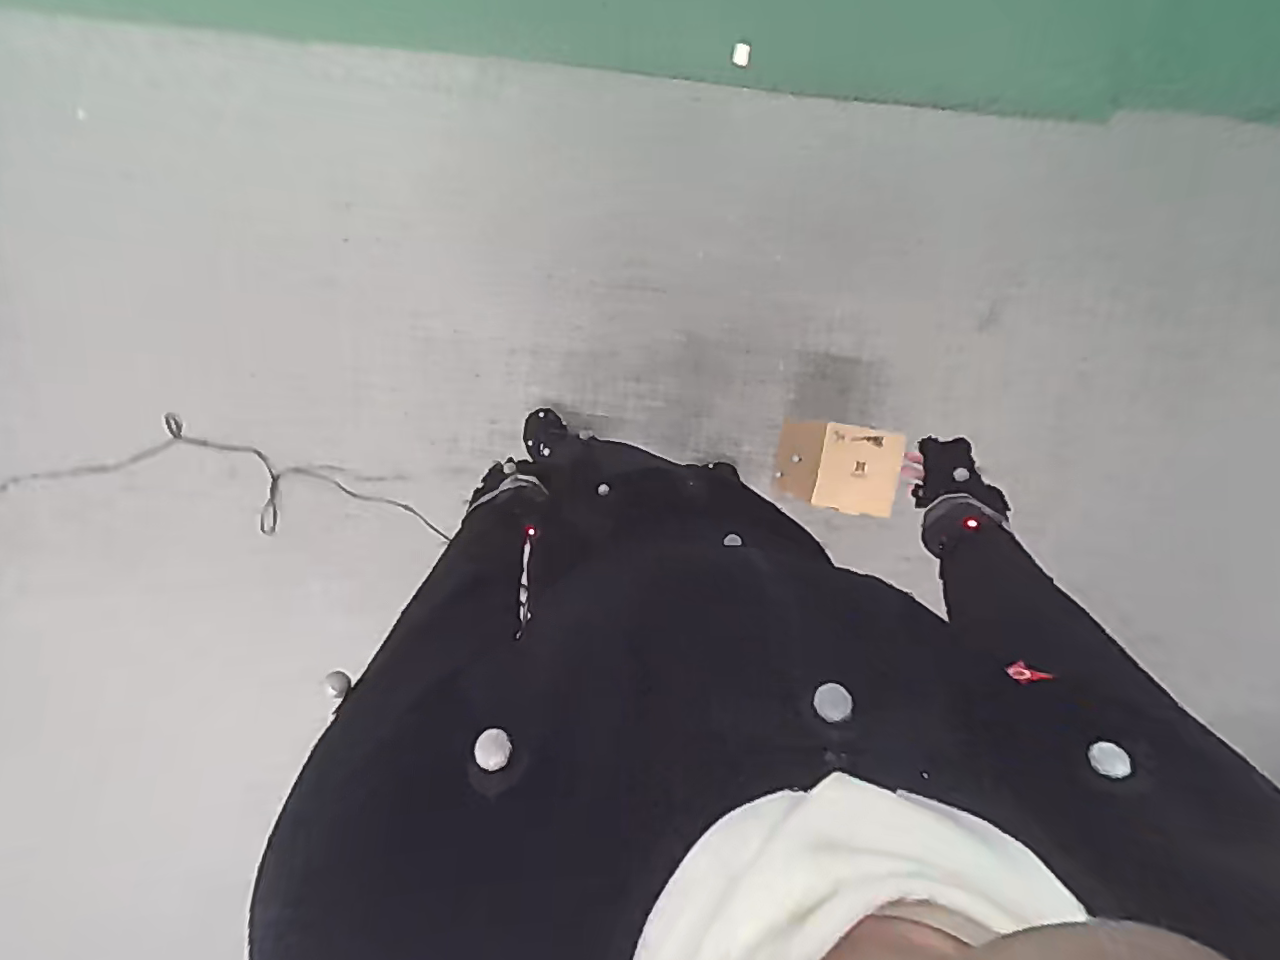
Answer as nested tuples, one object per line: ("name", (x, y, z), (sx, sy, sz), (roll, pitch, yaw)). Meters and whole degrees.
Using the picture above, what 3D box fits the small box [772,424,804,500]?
("small box", (0.435, -0.040, 1.342), (0.168, 0.176, 0.179), (9, 95, -2))

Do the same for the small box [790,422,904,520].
("small box", (0.439, -0.026, 1.178), (0.168, 0.176, 0.179), (11, 96, -1))
